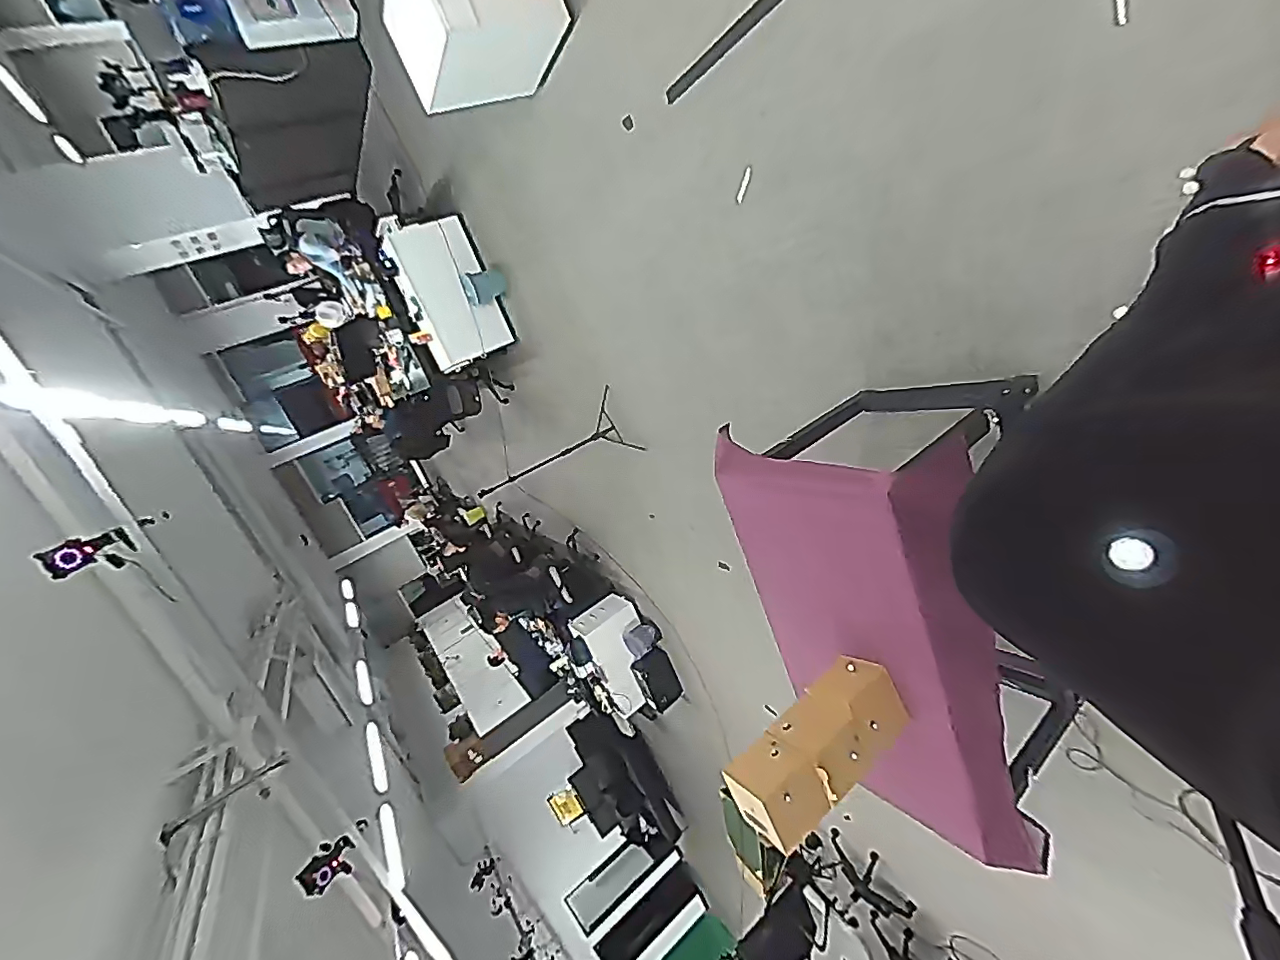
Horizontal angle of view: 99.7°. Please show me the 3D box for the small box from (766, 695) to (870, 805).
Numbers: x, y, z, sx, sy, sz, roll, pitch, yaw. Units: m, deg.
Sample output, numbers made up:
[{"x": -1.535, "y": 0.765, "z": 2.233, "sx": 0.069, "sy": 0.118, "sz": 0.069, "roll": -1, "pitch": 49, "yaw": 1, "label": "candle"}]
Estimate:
[{"x": 0.479, "y": 0.713, "z": 1.454, "sx": 0.179, "sy": 0.176, "sz": 0.168, "roll": -1, "pitch": 118, "yaw": 62, "label": "small box"}]

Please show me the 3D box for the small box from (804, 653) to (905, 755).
[{"x": 0.602, "y": 0.618, "z": 1.511, "sx": 0.179, "sy": 0.176, "sz": 0.168, "roll": 63, "pitch": 155, "yaw": -7, "label": "small box"}]
